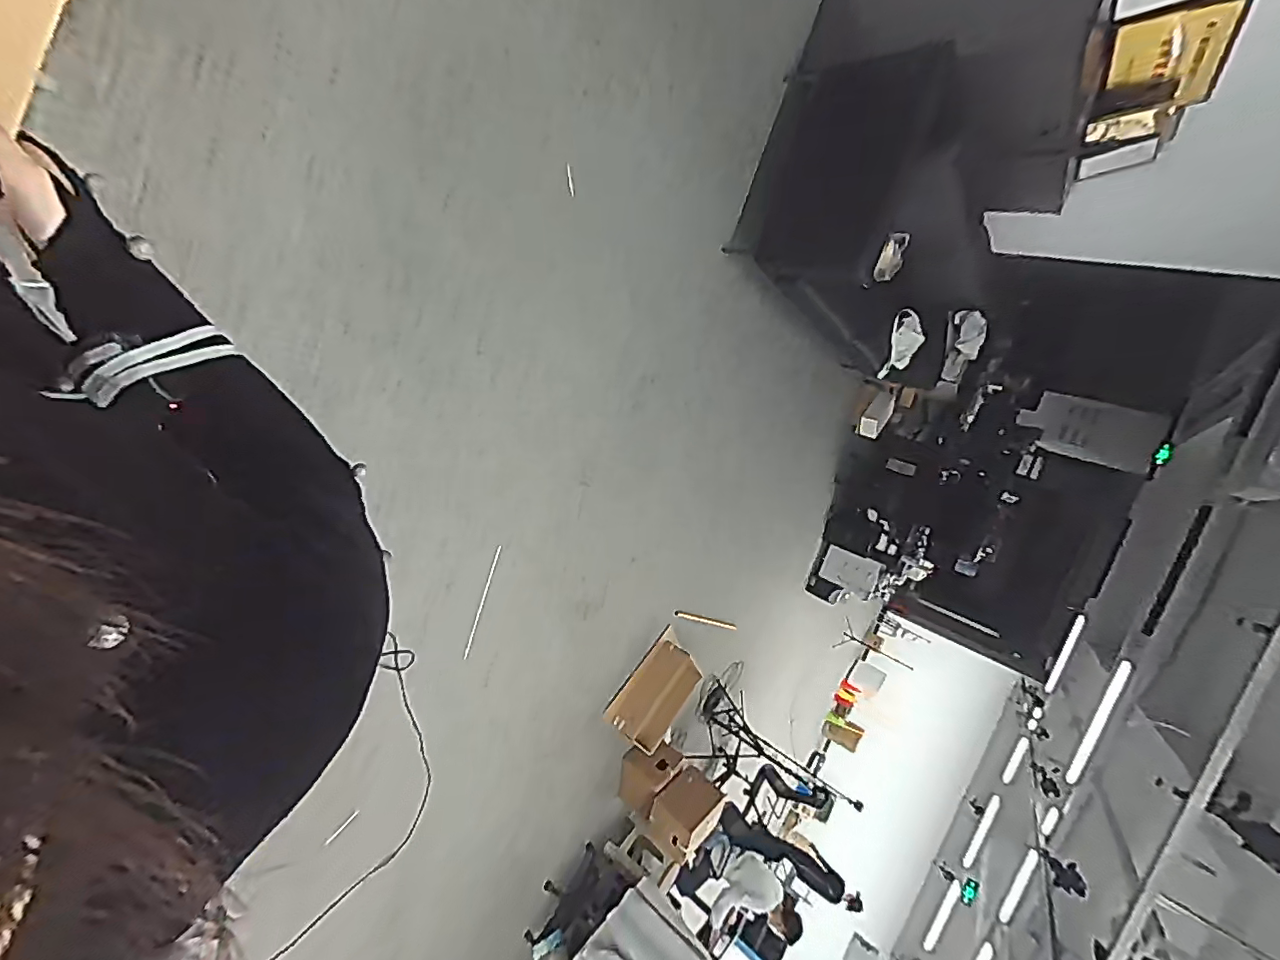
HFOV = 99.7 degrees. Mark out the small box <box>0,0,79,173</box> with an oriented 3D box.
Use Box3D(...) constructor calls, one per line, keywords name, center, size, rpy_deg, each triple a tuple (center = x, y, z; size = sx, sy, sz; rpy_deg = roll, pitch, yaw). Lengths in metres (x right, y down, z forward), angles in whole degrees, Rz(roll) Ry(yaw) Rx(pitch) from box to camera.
Box3D(name="small box", center=(-0.506, -0.320, 0.334), size=(0.168, 0.176, 0.179), rpy_deg=(23, 79, -64))
